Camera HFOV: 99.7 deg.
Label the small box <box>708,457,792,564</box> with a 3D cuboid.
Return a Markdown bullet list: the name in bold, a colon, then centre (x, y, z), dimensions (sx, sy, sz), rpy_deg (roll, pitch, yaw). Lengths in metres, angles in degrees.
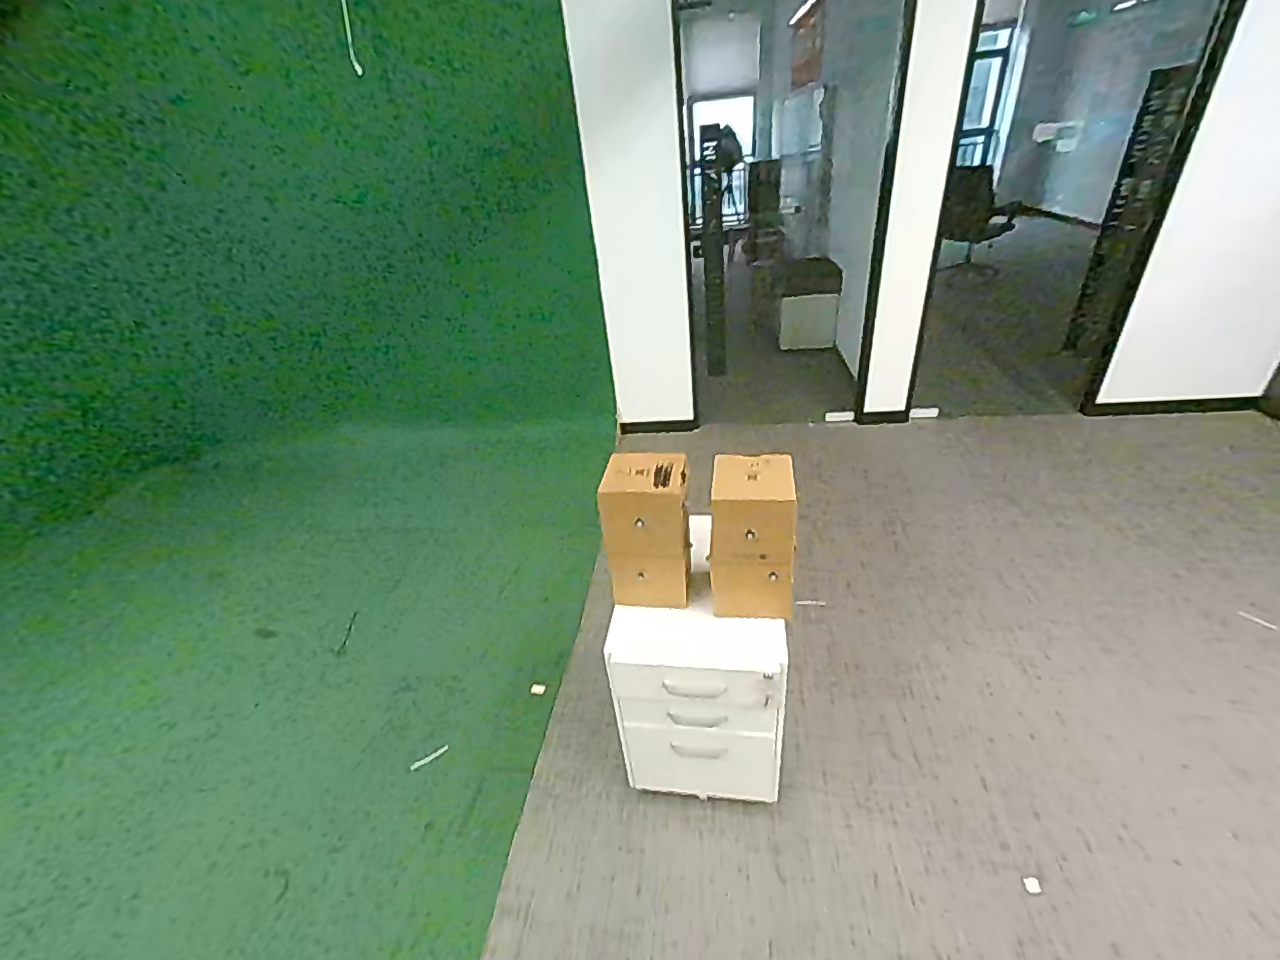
- **small box**: centre (0.236, 0.065, 1.163), dimensions (0.168, 0.176, 0.179), rpy_deg (1, 32, 11)

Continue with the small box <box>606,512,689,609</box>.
- **small box**: centre (0.025, 0.194, 1.306), dimensions (0.179, 0.176, 0.168), rpy_deg (1, 33, 9)
